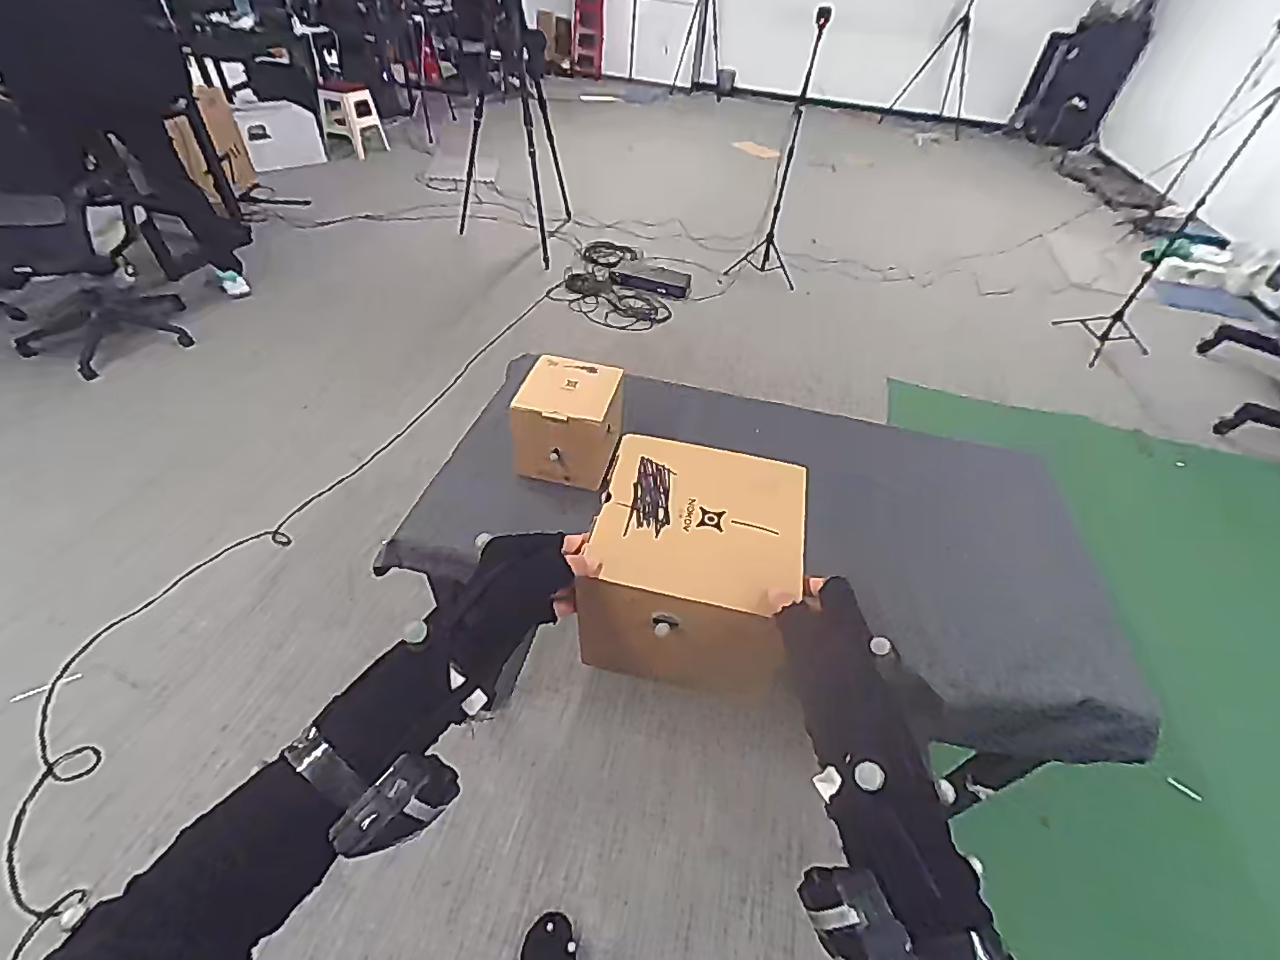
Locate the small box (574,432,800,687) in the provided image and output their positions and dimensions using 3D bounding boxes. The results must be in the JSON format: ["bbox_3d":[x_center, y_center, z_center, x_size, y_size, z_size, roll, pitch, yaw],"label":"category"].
[{"bbox_3d":[0.046,0.080,0.527,0.179,0.176,0.168,12,49,7],"label":"small box"}]

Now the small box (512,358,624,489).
[{"bbox_3d":[-0.130,-0.106,1.044,0.168,0.176,0.179,12,45,6],"label":"small box"}]
